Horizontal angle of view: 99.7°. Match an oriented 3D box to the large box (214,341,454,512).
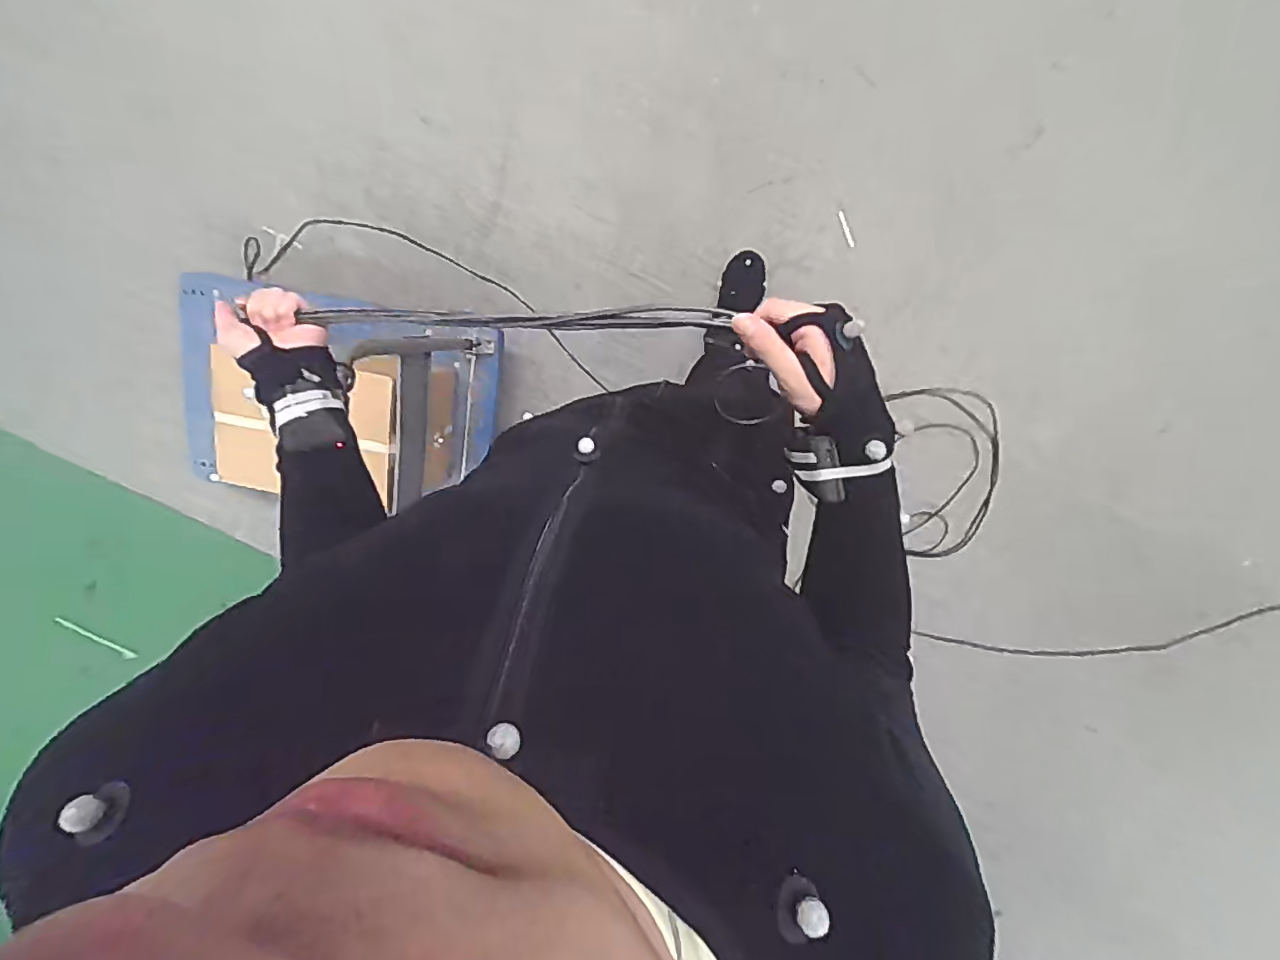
[{"bbox_3d":[-0.707,-0.146,1.307,0.408,0.320,0.320,11,106,4],"label":"large box"}]
